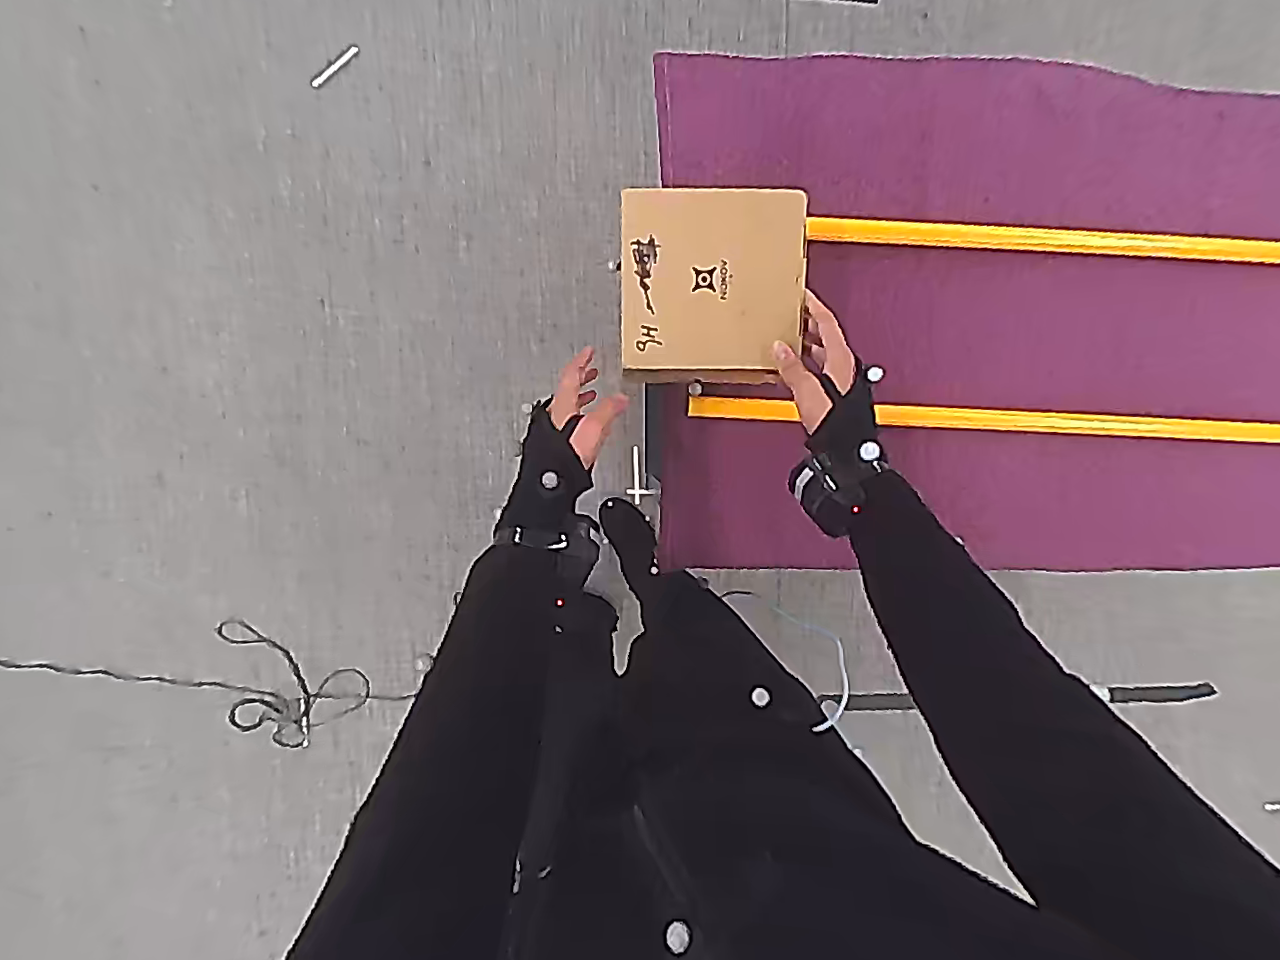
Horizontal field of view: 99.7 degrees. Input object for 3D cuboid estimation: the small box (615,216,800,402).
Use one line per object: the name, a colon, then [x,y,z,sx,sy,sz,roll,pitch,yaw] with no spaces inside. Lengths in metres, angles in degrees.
small box: [0.061,-0.174,0.596,0.179,0.176,0.168,0,96,-2]
